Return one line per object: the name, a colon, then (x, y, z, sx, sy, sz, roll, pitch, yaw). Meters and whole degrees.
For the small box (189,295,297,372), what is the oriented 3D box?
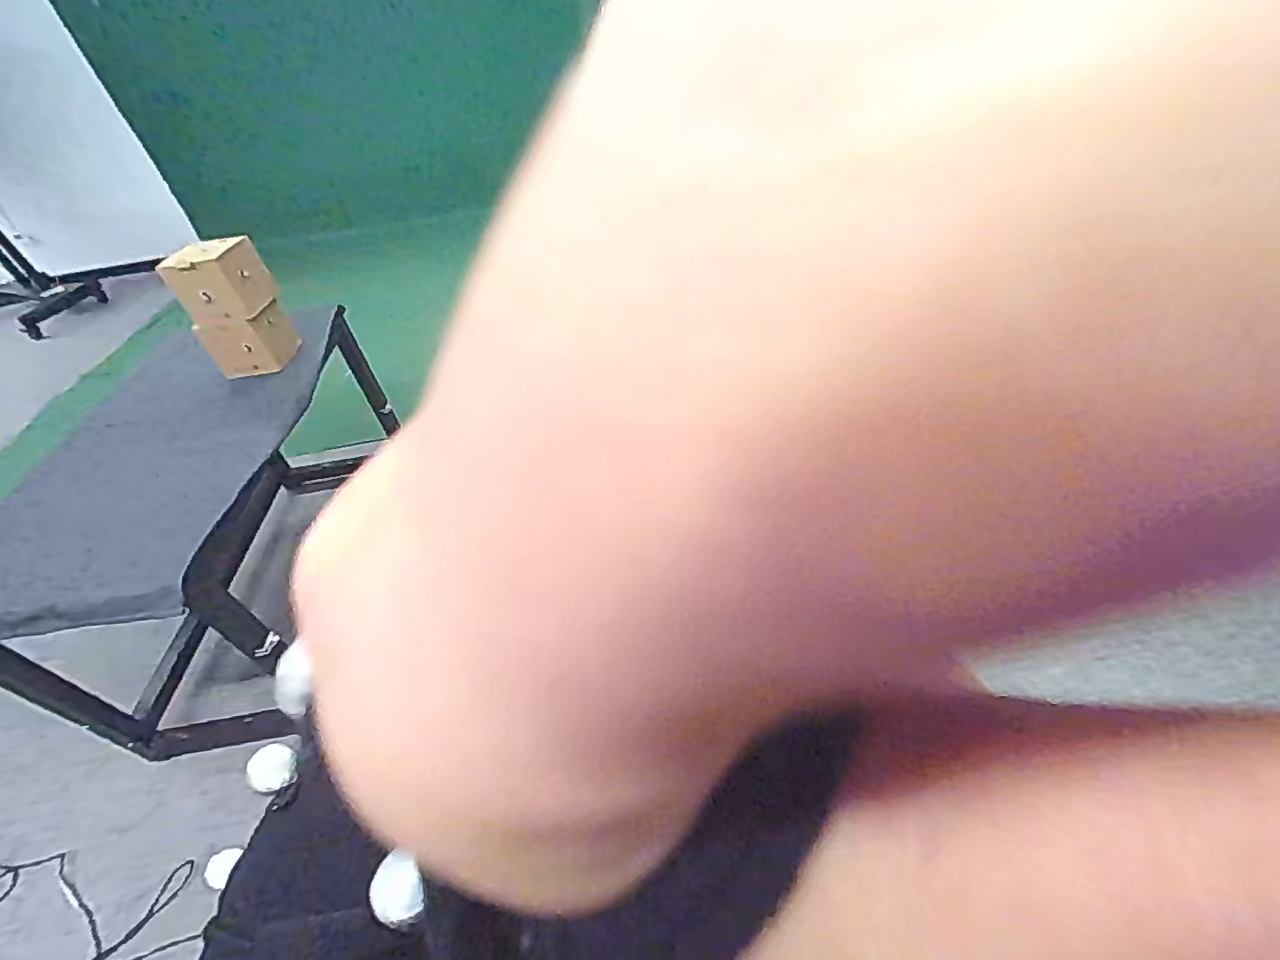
small box: (-1.160, -0.433, 1.600, 0.168, 0.176, 0.179, -7, 43, 1)

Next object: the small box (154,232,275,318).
small box: (-1.161, -0.561, 1.496, 0.168, 0.176, 0.179, -5, 44, 3)
